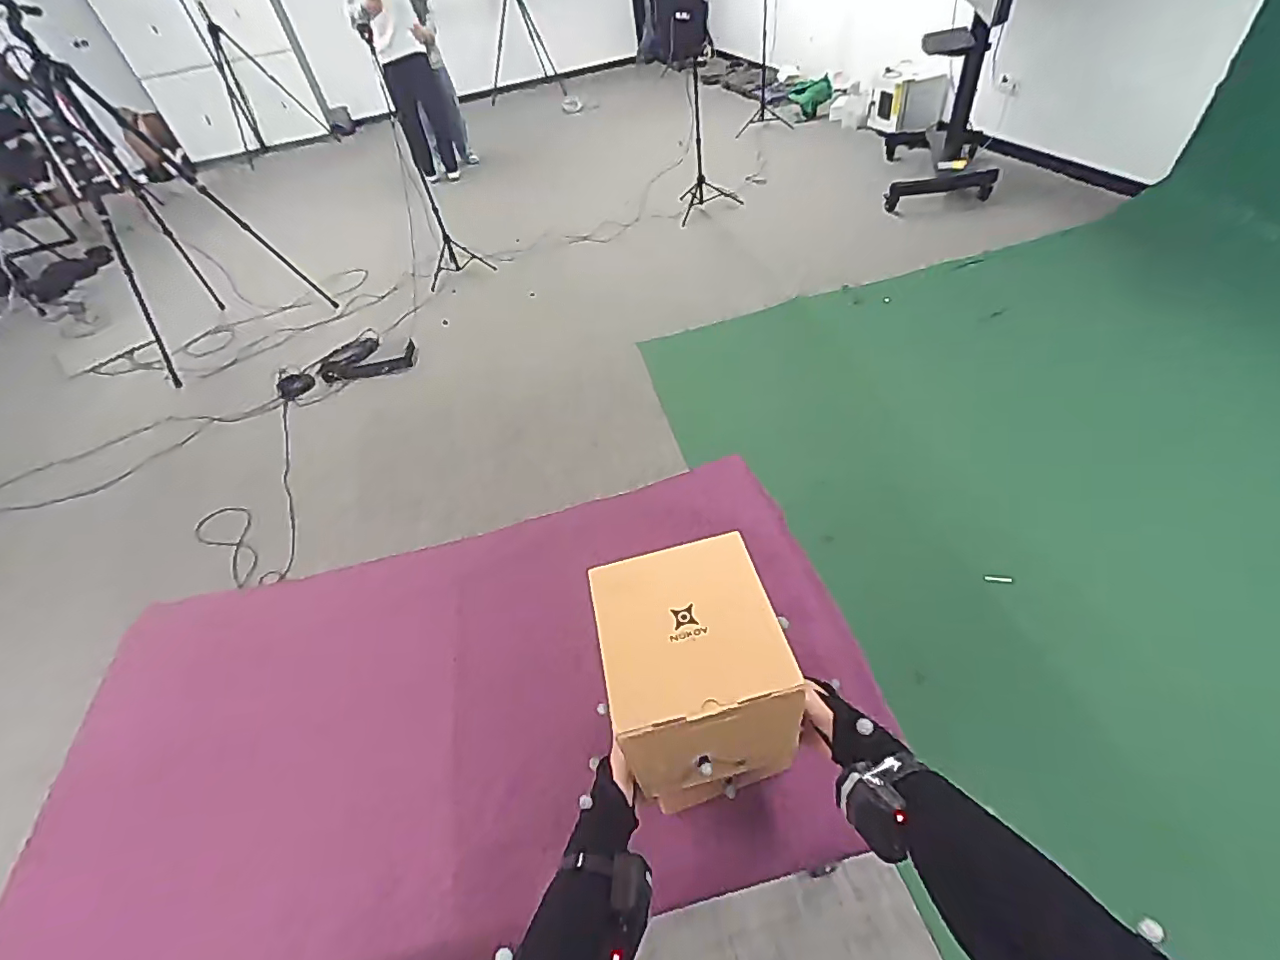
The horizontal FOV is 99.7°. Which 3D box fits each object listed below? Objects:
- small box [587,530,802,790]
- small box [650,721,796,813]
[{"bbox_3d":[0.050,0.184,0.557,0.168,0.176,0.179,-15,44,-3],"label":"small box"},{"bbox_3d":[0.076,0.286,0.684,0.179,0.176,0.168,-18,43,-7],"label":"small box"}]
